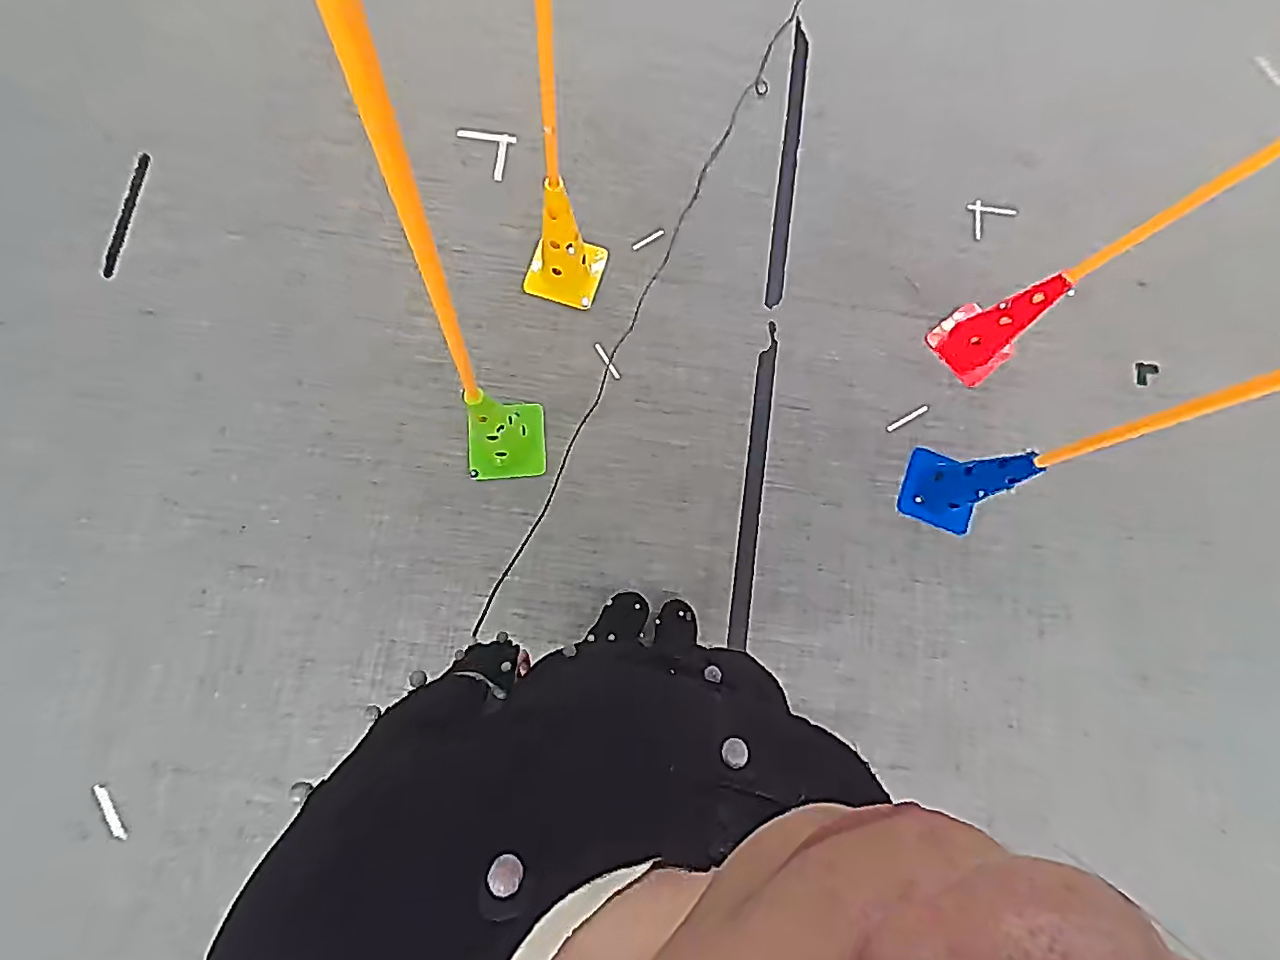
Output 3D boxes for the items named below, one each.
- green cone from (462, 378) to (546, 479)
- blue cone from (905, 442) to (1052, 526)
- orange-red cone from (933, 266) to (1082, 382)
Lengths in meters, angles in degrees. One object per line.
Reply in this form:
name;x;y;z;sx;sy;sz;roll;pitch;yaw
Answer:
green cone;-0.342;-0.143;1.255;0.200;0.368;0.202;-5;78;-4
blue cone;0.832;-0.015;1.309;0.193;0.380;0.192;23;78;2
orange-red cone;0.969;-0.430;1.384;0.199;0.360;0.198;-36;82;-8
